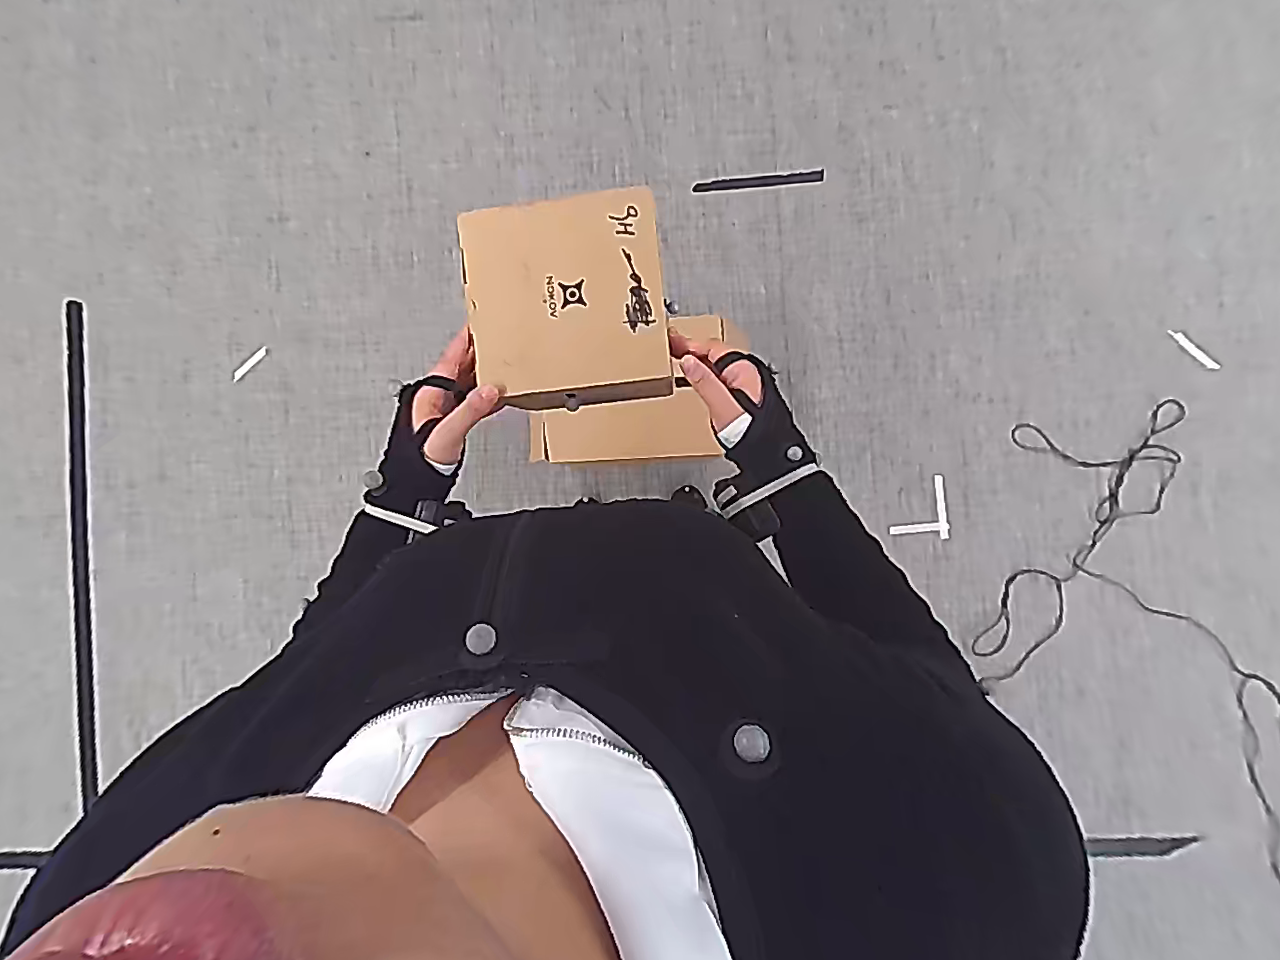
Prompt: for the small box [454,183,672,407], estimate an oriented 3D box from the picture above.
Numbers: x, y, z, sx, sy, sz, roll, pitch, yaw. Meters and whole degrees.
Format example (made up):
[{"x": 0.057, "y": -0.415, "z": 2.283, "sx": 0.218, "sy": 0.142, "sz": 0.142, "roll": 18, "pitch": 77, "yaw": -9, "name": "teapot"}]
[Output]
[{"x": -0.064, "y": -0.170, "z": 0.553, "sx": 0.179, "sy": 0.176, "sz": 0.168, "roll": -6, "pitch": 93, "yaw": 5, "name": "small box"}]
